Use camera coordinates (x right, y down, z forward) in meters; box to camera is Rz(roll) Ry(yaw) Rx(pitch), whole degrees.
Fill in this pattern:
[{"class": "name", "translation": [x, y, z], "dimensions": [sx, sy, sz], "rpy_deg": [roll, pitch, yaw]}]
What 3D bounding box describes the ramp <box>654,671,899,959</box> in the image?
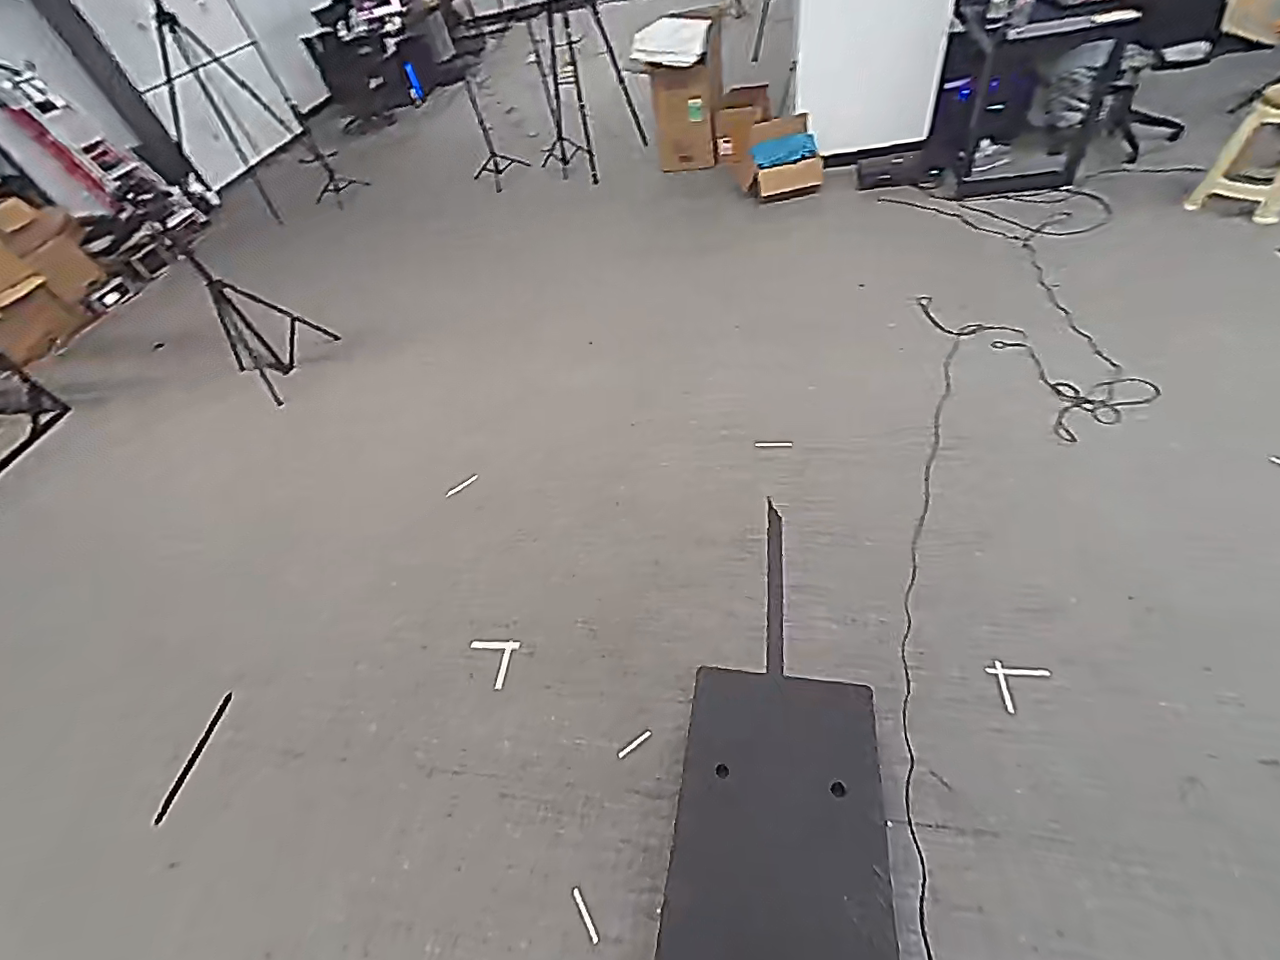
[{"class": "ramp", "translation": [0.302, 0.902, 1.211], "dimensions": [0.509, 0.206, 0.991], "rpy_deg": [-1, 50, 15]}]
